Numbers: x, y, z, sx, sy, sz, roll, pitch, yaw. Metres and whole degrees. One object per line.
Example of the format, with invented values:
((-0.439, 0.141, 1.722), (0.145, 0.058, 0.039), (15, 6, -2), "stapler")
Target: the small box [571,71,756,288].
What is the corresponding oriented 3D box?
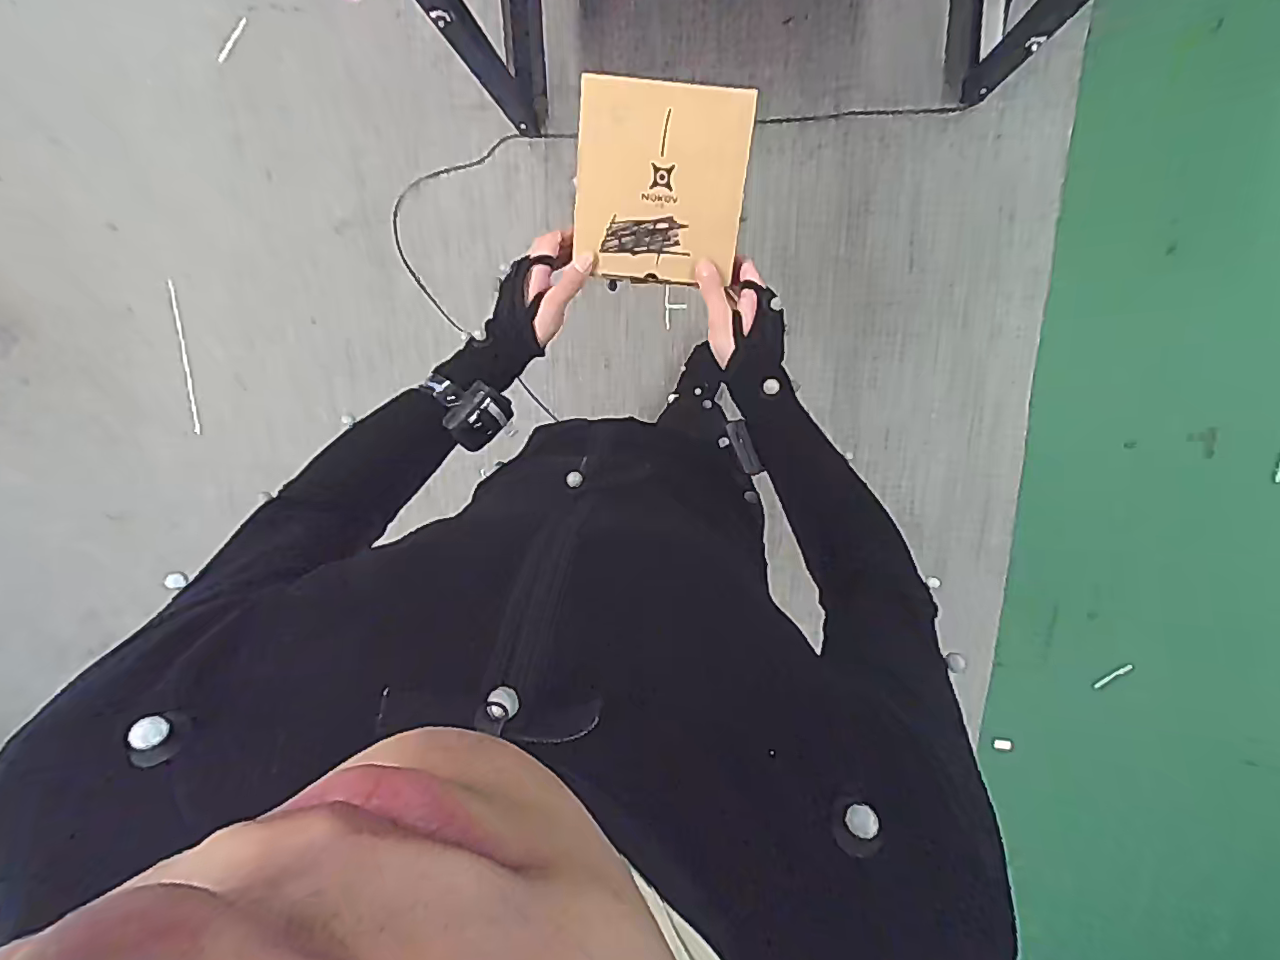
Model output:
((0.021, -0.312, 0.599), (0.168, 0.176, 0.179), (6, 109, 0), "small box")
